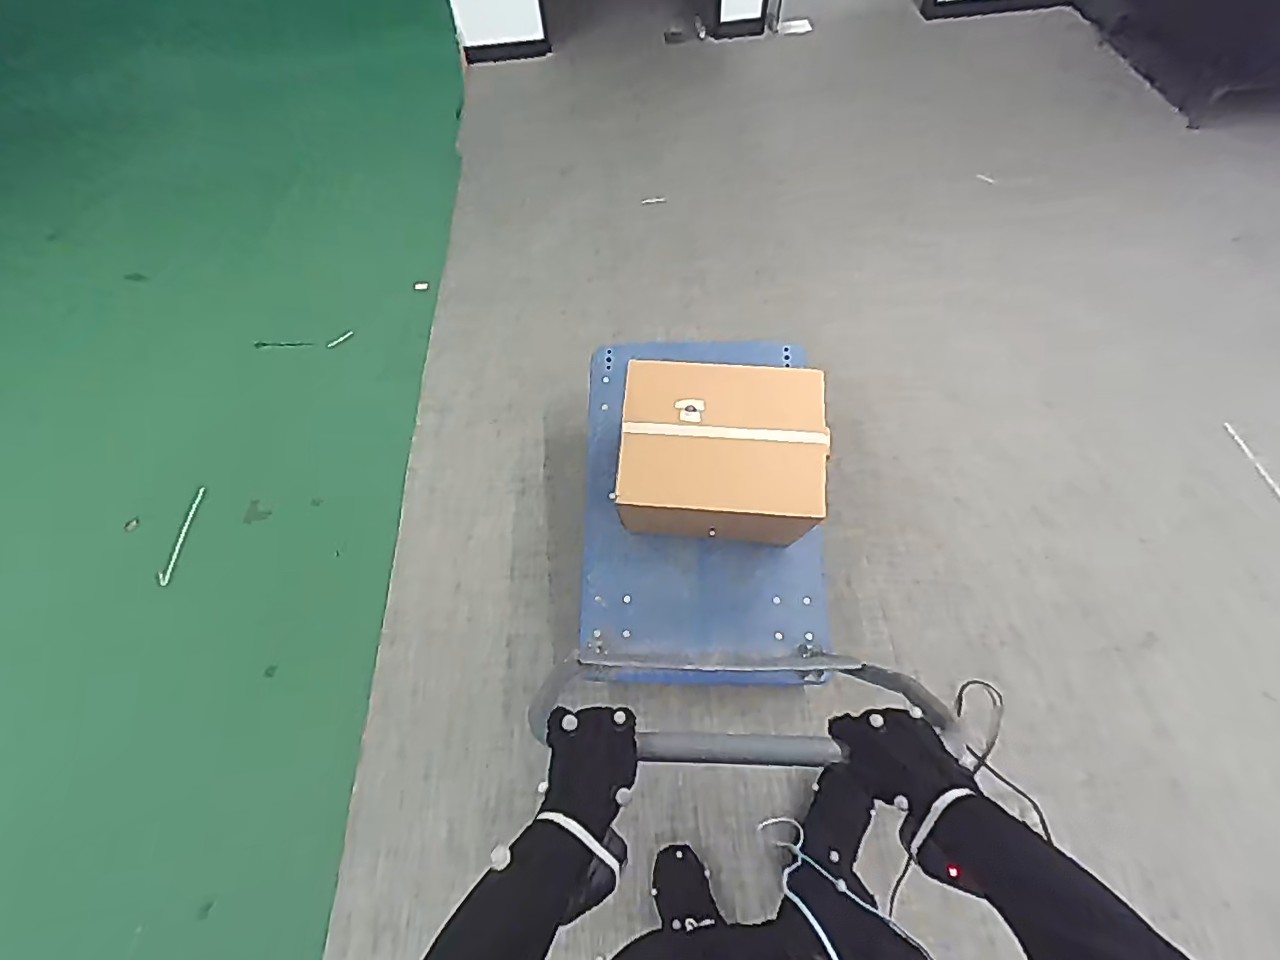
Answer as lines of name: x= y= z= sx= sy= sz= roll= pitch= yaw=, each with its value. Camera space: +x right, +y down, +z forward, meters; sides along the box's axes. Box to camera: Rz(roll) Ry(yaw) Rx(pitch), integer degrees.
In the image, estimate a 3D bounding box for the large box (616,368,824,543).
large box: x=0.174 y=-0.039 z=1.217 sx=0.408 sy=0.320 sz=0.320 roll=4 pitch=74 yaw=5
